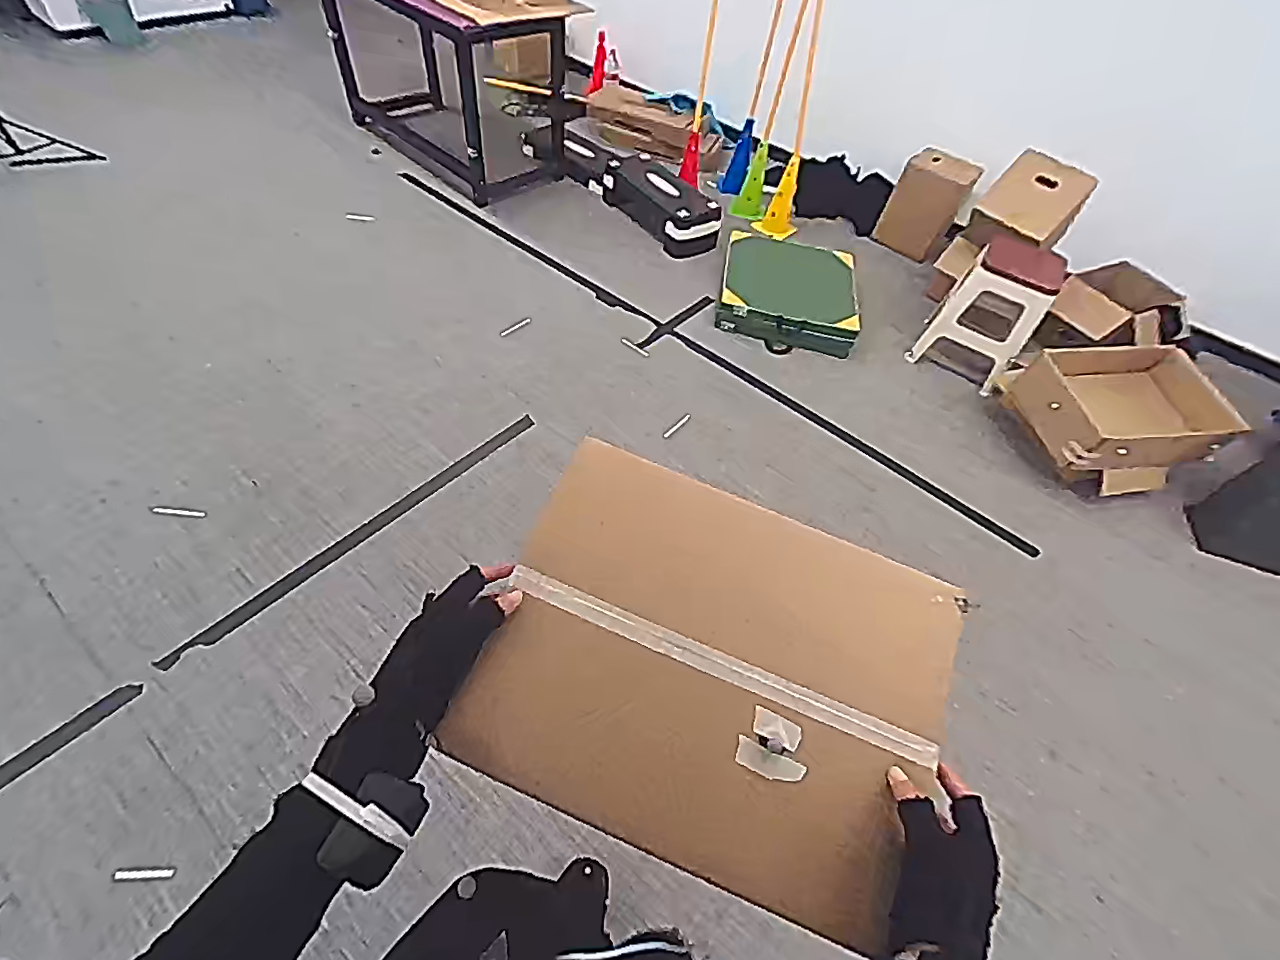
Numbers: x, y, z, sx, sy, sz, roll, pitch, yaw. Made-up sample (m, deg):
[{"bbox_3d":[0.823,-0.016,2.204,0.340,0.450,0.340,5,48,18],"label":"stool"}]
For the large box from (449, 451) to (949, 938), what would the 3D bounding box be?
[{"bbox_3d":[0.060,0.221,0.642,0.408,0.320,0.320,23,71,5],"label":"large box"}]
